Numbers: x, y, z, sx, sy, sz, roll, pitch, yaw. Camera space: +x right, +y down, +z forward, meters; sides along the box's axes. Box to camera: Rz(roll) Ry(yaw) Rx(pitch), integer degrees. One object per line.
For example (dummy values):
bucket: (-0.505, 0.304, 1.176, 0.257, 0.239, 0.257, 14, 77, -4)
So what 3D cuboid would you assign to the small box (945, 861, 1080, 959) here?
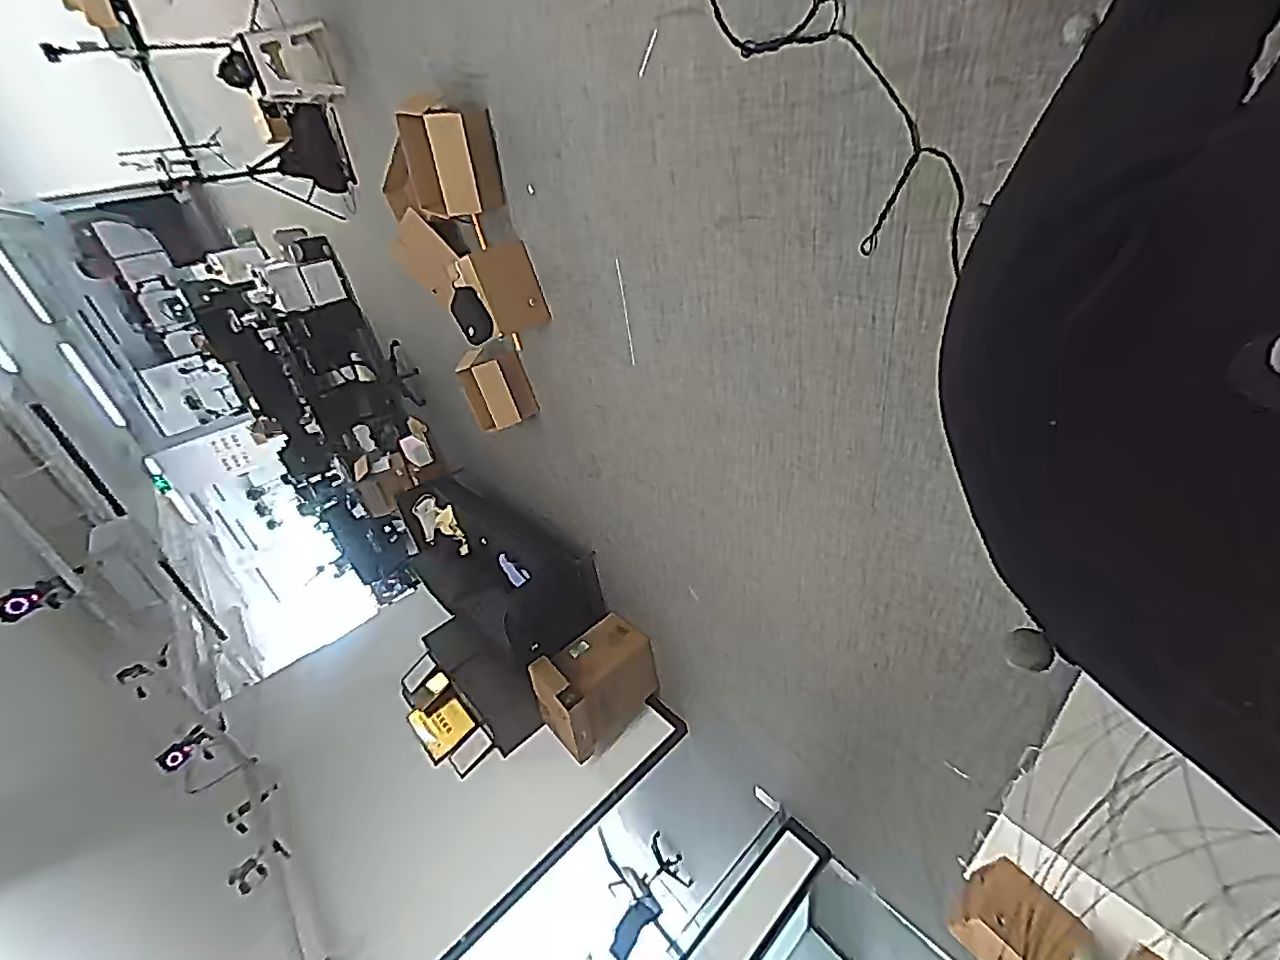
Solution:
small box: (0.846, 1.021, 1.229, 0.179, 0.176, 0.168, 38, 143, 31)
